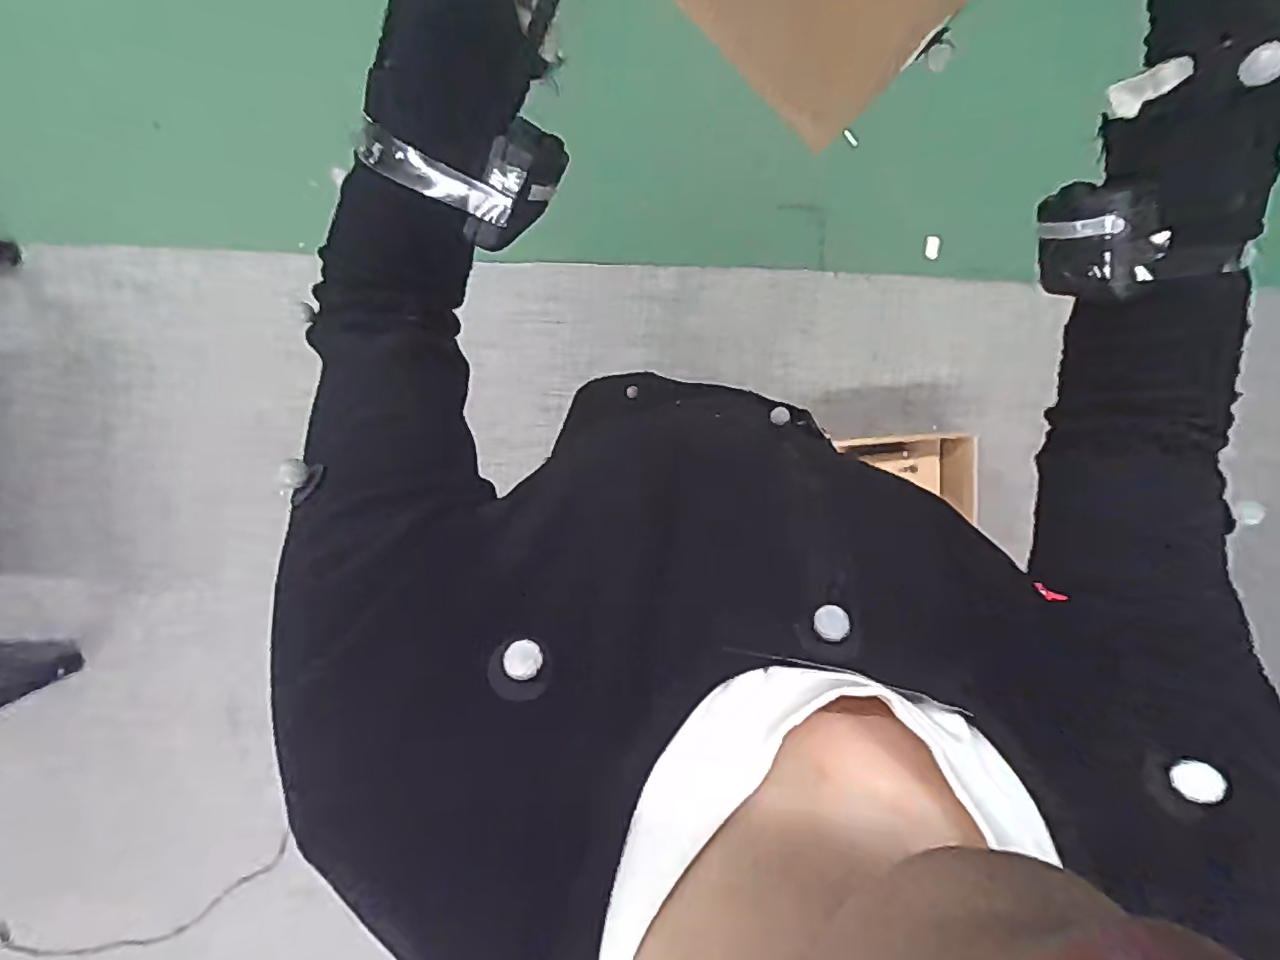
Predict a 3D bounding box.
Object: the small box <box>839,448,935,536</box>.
[{"bbox_3d":[0.601,0.025,1.329,0.168,0.176,0.179,-7,100,1],"label":"small box"}]
